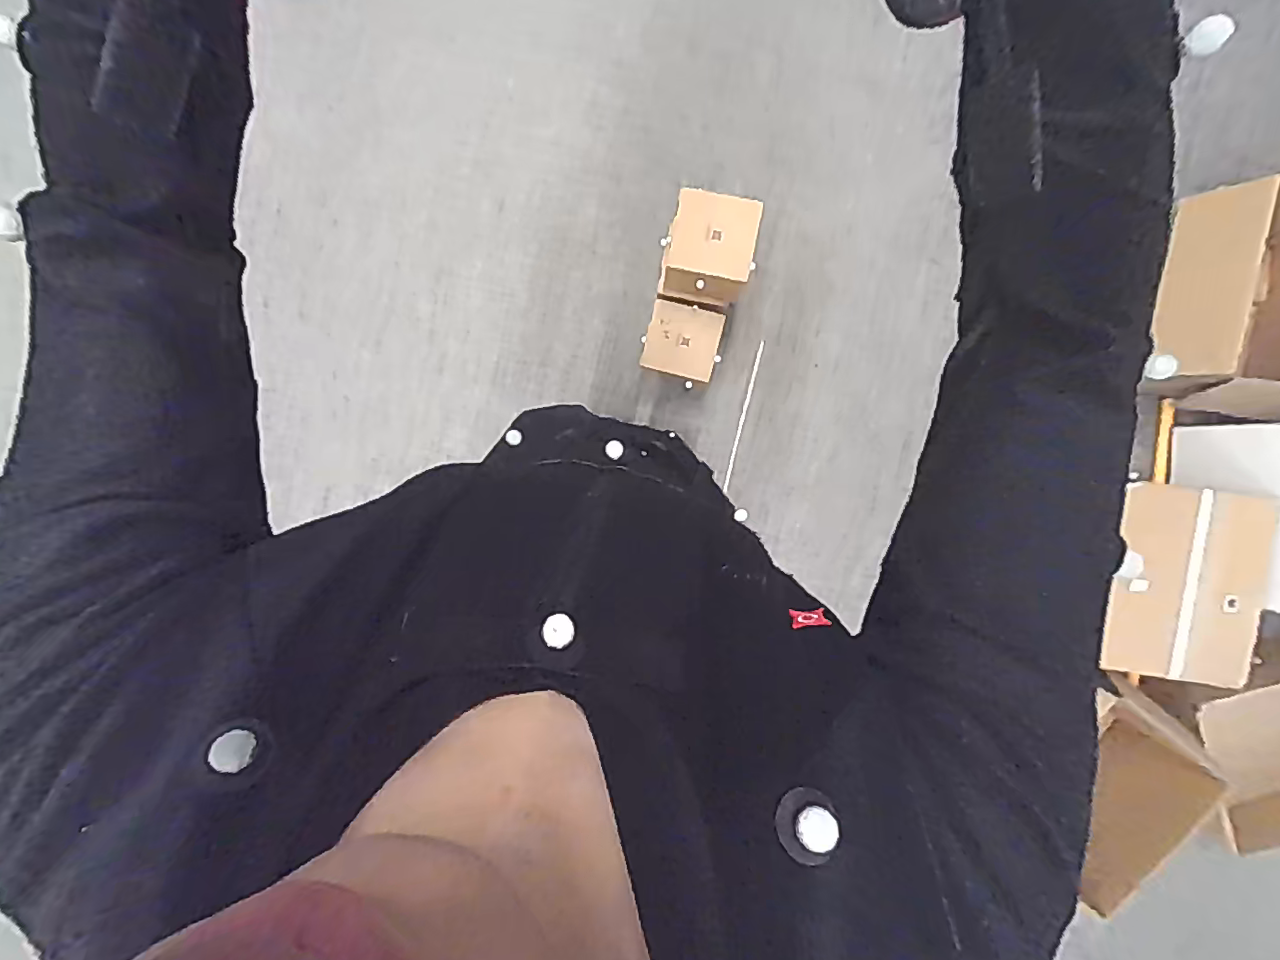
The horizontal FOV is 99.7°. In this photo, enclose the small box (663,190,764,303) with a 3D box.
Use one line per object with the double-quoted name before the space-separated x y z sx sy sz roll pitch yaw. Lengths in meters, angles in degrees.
"small box" 0.154 -0.502 1.189 0.179 0.176 0.168 12 94 1
